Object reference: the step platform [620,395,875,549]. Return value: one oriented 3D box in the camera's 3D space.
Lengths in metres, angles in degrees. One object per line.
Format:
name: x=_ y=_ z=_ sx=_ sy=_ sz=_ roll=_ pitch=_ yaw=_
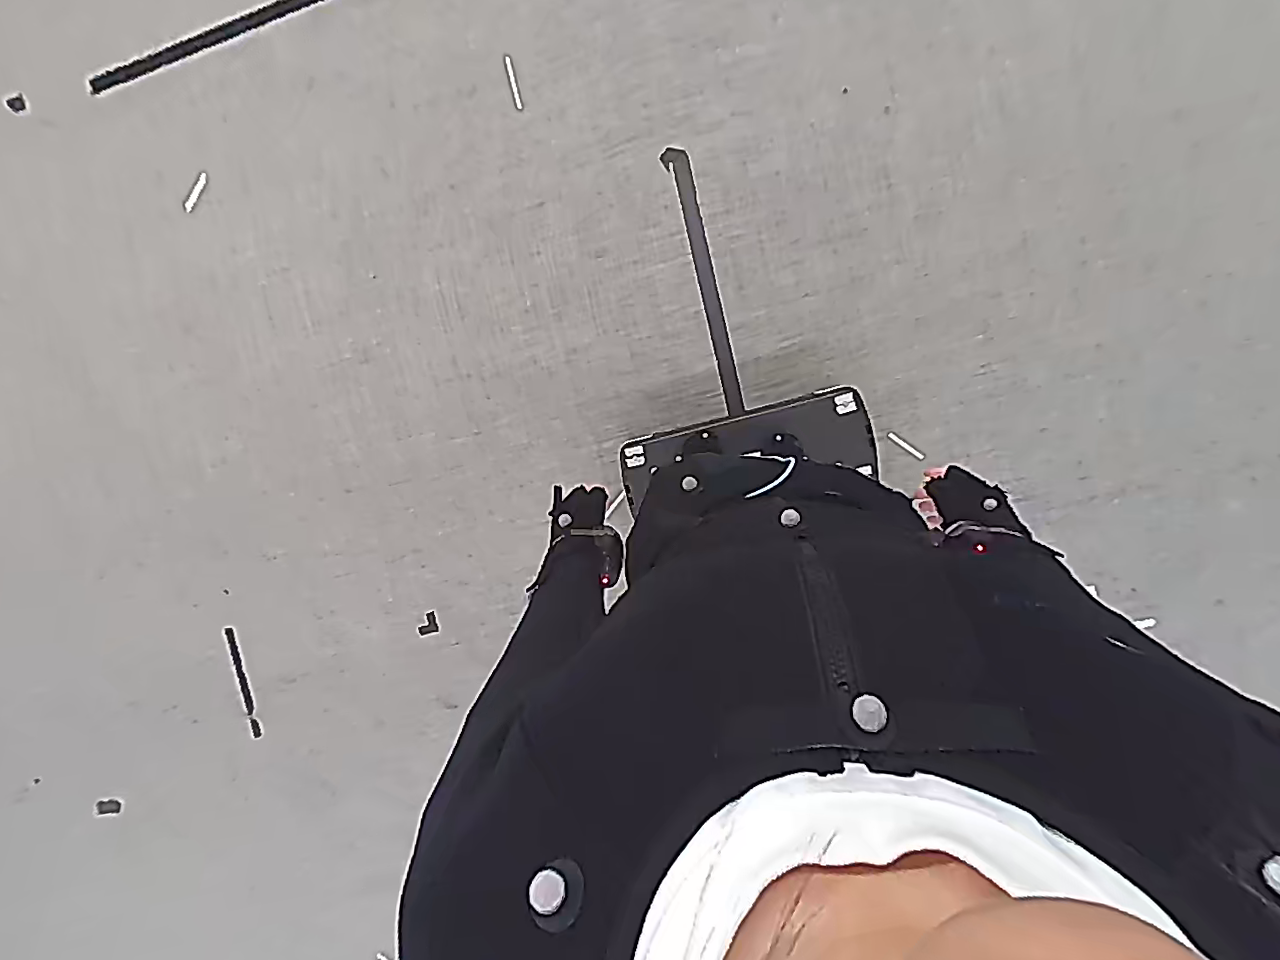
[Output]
step platform: x=0.290 y=-0.020 z=1.525 sx=0.684 sy=0.204 sz=0.286 roll=-15 pitch=94 yaw=7
